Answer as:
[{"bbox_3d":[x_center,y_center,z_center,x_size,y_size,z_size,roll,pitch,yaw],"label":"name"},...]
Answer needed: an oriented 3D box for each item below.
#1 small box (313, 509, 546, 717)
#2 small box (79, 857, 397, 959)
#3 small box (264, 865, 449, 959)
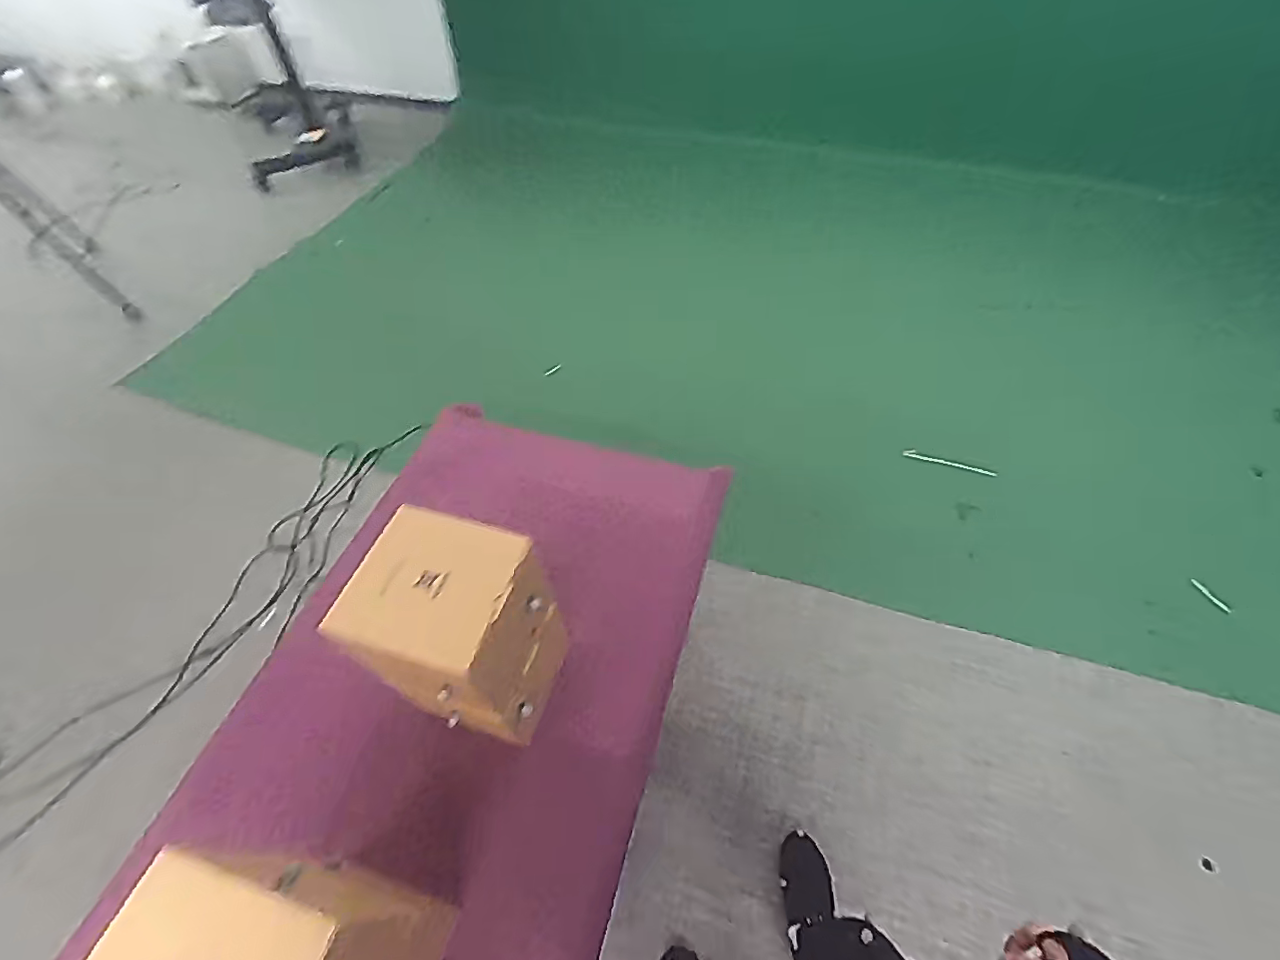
[{"bbox_3d":[-0.229,0.164,0.647,0.179,0.176,0.168,13,54,12],"label":"small box"},{"bbox_3d":[-0.341,0.437,0.441,0.179,0.176,0.168,13,54,10],"label":"small box"},{"bbox_3d":[-0.336,0.537,0.570,0.179,0.176,0.168,14,55,11],"label":"small box"}]
